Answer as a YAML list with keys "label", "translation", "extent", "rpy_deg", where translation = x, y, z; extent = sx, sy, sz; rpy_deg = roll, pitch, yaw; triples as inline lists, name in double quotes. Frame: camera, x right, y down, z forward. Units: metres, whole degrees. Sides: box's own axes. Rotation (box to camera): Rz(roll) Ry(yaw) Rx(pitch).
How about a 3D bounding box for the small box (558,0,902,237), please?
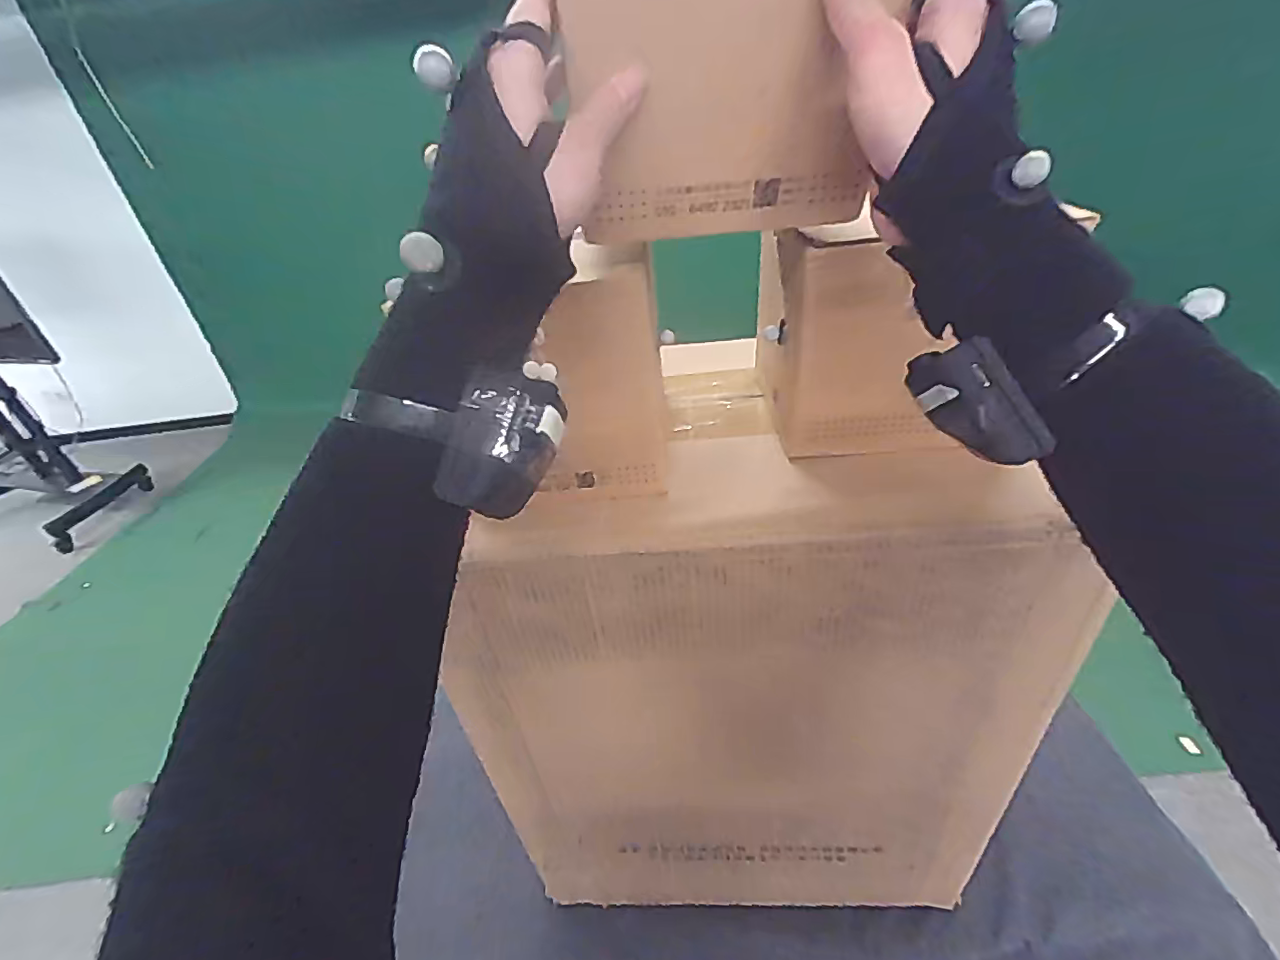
- label: "small box"
  translation: [0.037, -0.263, 0.328]
  extent: [0.168, 0.176, 0.179]
  rpy_deg: [-6, 43, -2]

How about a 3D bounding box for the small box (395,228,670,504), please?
- label: "small box"
  translation: [-0.065, -0.100, 0.449]
  extent: [0.168, 0.176, 0.179]
  rpy_deg: [-5, 36, 5]

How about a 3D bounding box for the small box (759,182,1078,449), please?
- label: "small box"
  translation: [0.198, -0.137, 0.452]
  extent: [0.179, 0.176, 0.168]
  rpy_deg: [-3, 37, 3]
